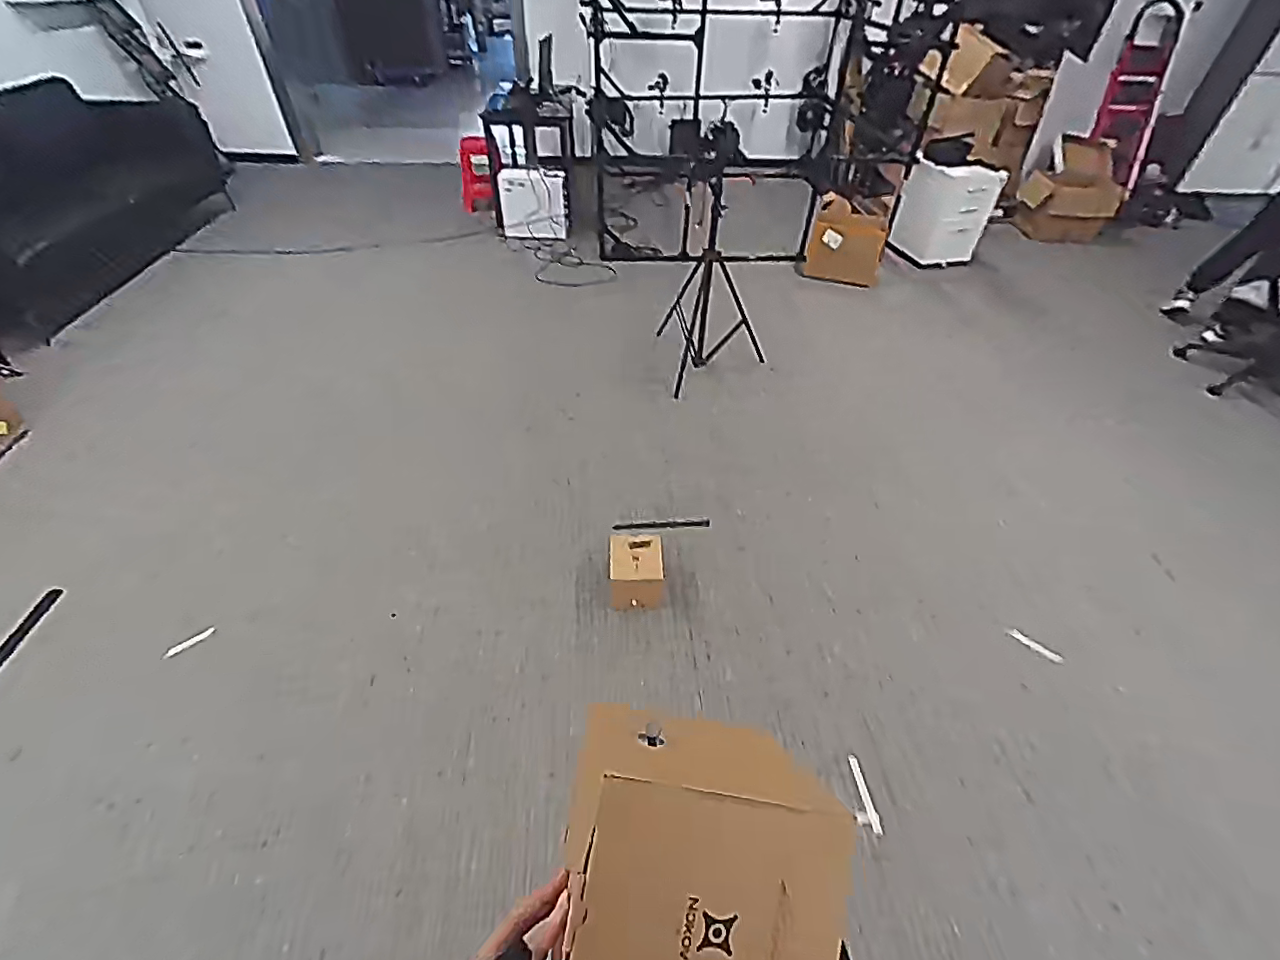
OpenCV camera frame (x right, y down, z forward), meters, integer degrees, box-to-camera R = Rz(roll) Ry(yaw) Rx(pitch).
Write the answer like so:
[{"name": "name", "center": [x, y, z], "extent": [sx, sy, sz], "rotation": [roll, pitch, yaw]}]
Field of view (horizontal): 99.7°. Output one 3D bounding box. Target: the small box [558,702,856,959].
[{"name": "small box", "center": [0.035, 0.287, 0.422], "extent": [0.179, 0.176, 0.168], "rotation": [12, 83, -7]}]

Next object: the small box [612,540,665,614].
[{"name": "small box", "center": [-0.009, 0.316, 1.766], "extent": [0.168, 0.176, 0.179], "rotation": [0, 45, -1]}]
